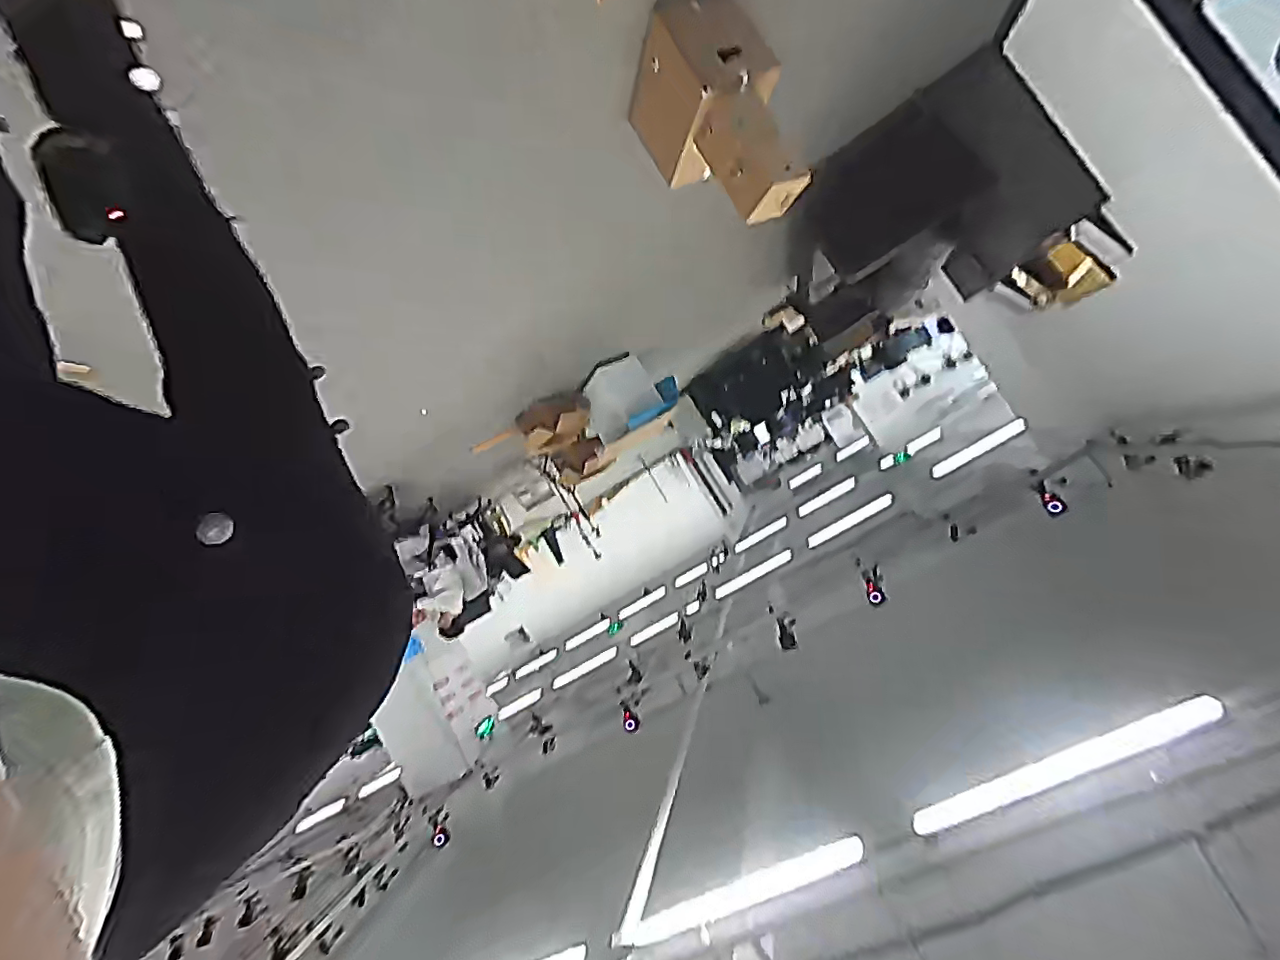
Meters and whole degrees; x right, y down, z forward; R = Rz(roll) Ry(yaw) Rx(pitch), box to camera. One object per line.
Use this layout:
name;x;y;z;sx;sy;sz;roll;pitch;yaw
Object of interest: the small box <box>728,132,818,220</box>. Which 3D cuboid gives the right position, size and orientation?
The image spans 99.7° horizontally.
small box;0.411;-0.955;1.694;0.179;0.176;0.168;-27;175;-27
